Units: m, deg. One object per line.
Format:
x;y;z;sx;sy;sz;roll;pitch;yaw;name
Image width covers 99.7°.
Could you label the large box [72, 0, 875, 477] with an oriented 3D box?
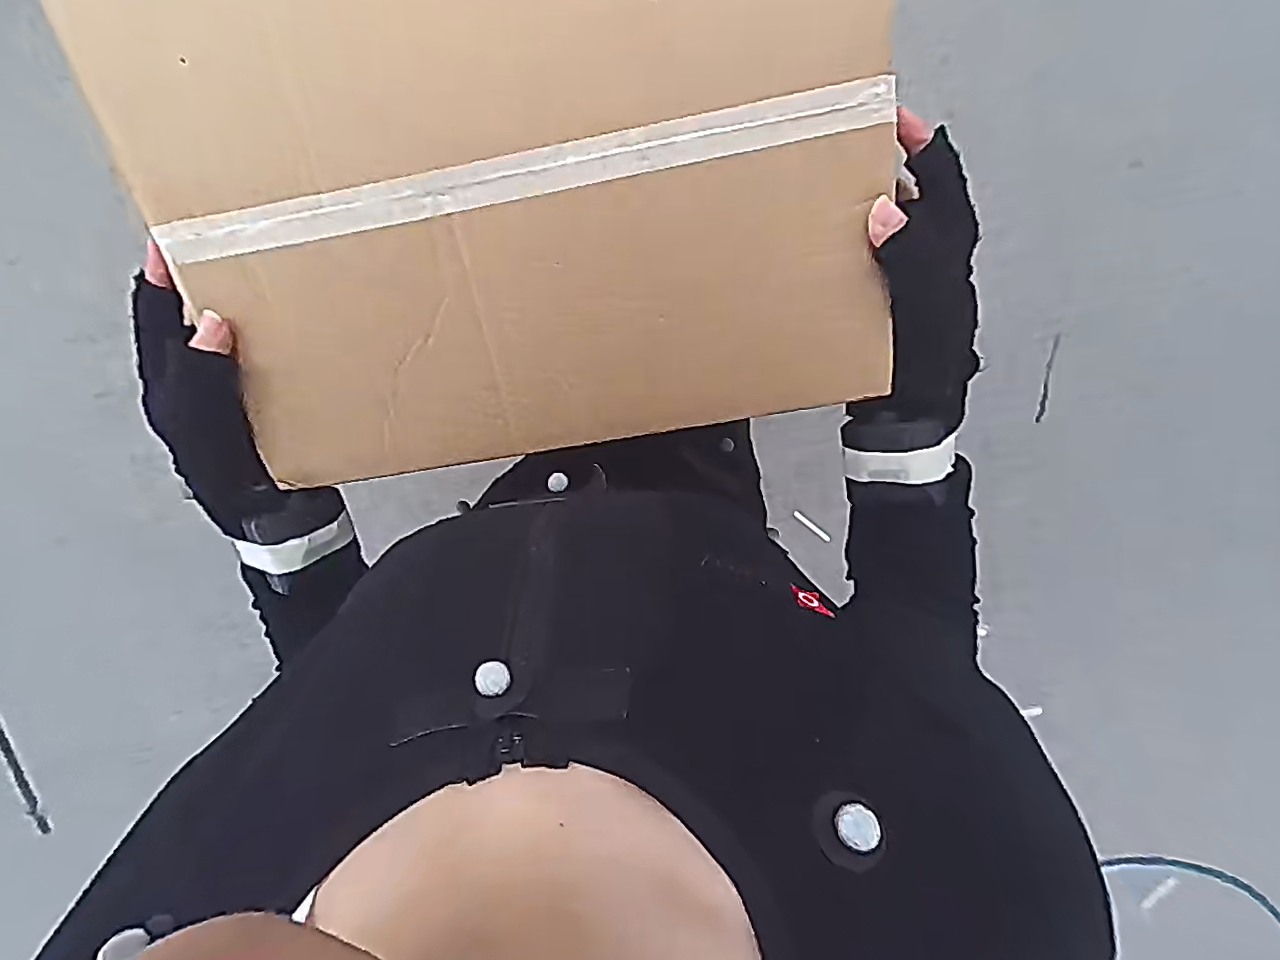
-0.069;-0.232;0.438;0.408;0.320;0.320;-9;113;4;large box
